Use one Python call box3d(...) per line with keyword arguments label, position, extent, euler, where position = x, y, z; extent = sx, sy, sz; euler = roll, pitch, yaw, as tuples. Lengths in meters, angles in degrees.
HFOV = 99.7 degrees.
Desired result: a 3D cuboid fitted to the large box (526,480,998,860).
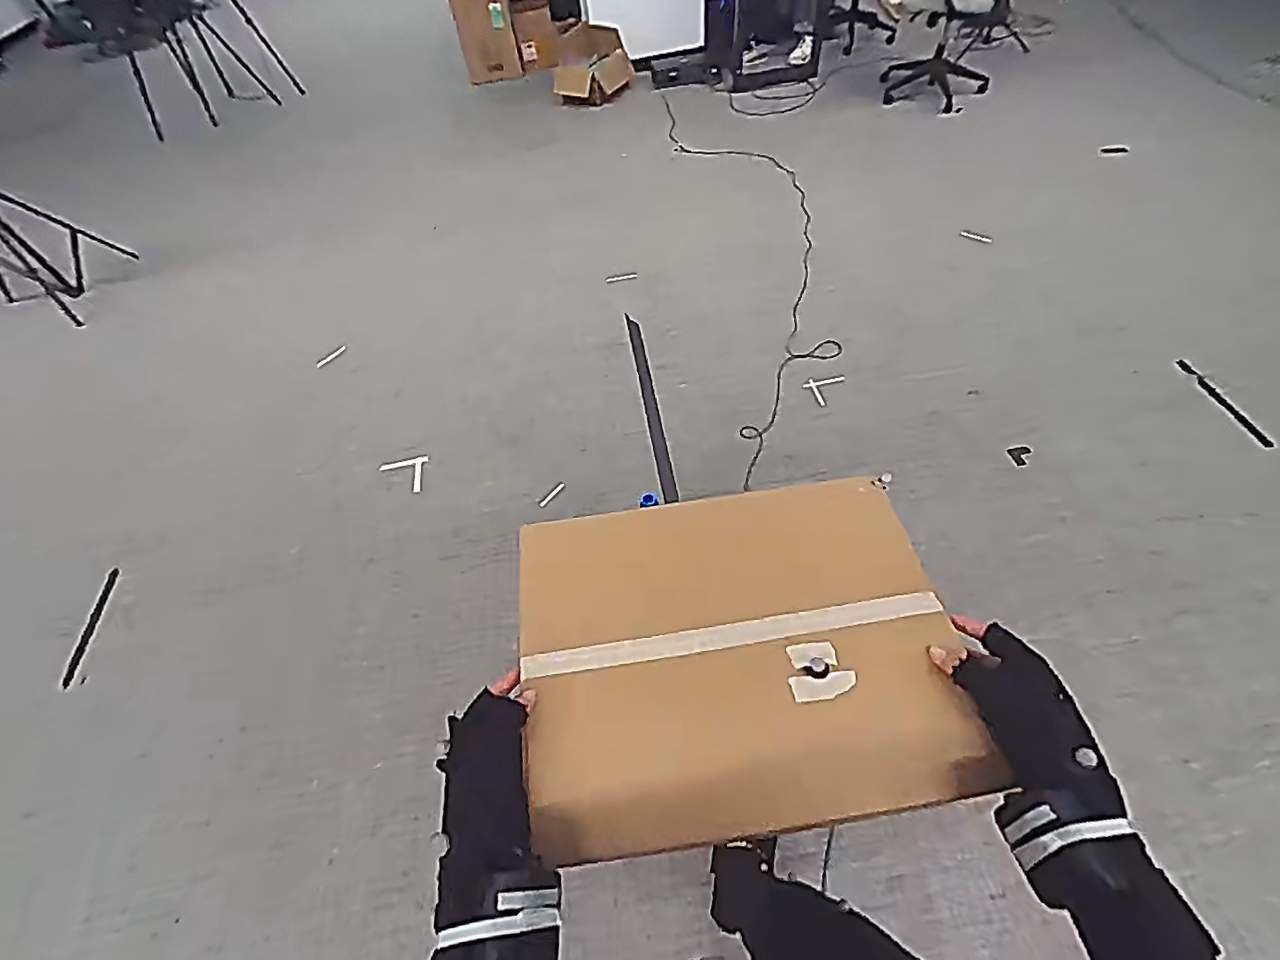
box3d(label="large box", position=(0.096, 0.239, 0.654), extent=(0.408, 0.320, 0.320), euler=(-8, 55, -2))
